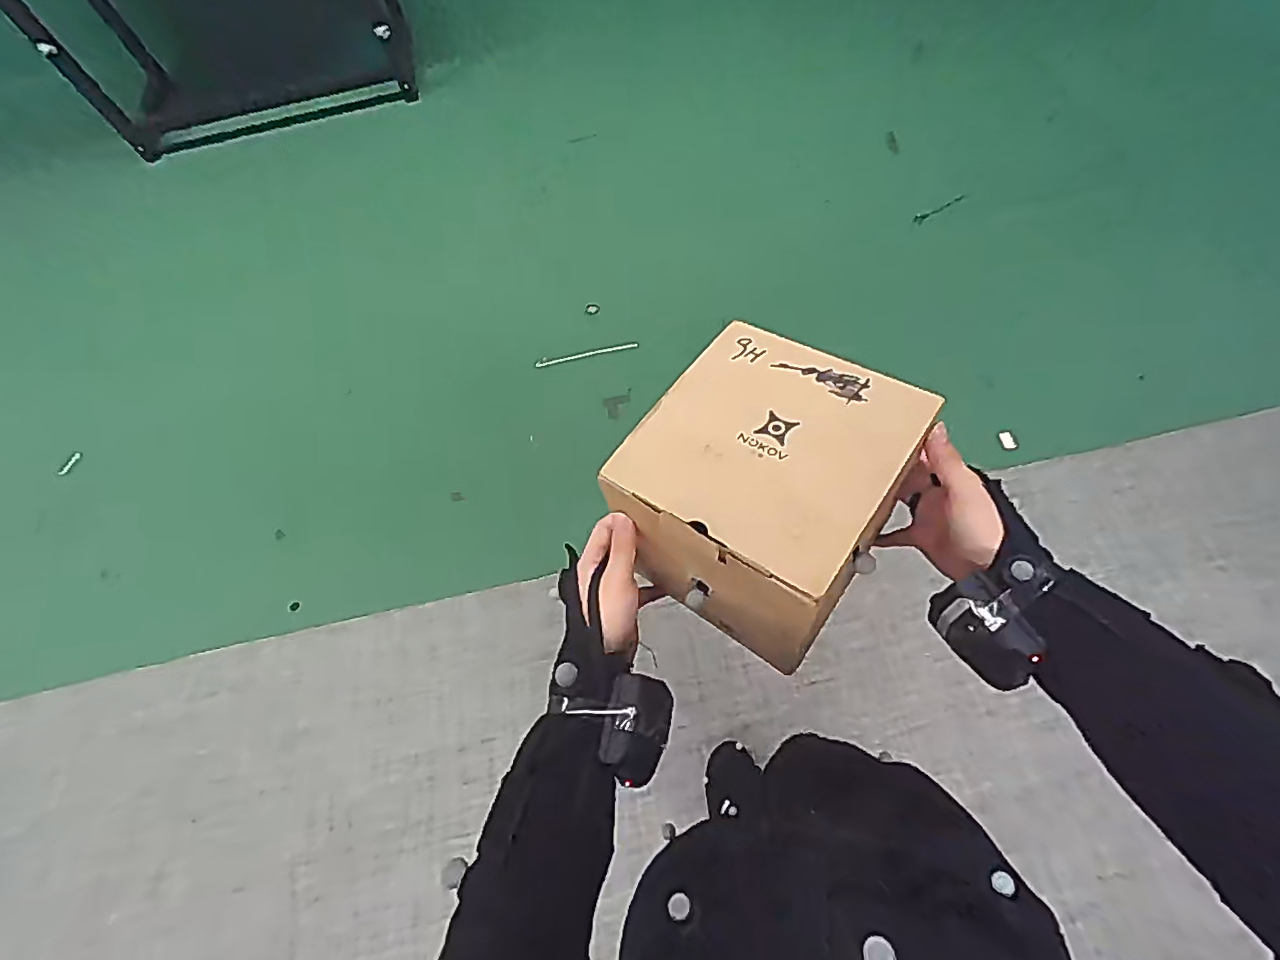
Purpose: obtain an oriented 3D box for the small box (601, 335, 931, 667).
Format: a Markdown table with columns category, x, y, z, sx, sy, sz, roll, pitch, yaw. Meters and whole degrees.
| category | x | y | z | sx | sy | sz | roll | pitch | yaw |
| --- | --- | --- | --- | --- | --- | --- | --- | --- | --- |
| small box | 0.099 | 0.023 | 0.439 | 0.168 | 0.176 | 0.179 | 30 | 67 | 26 |
